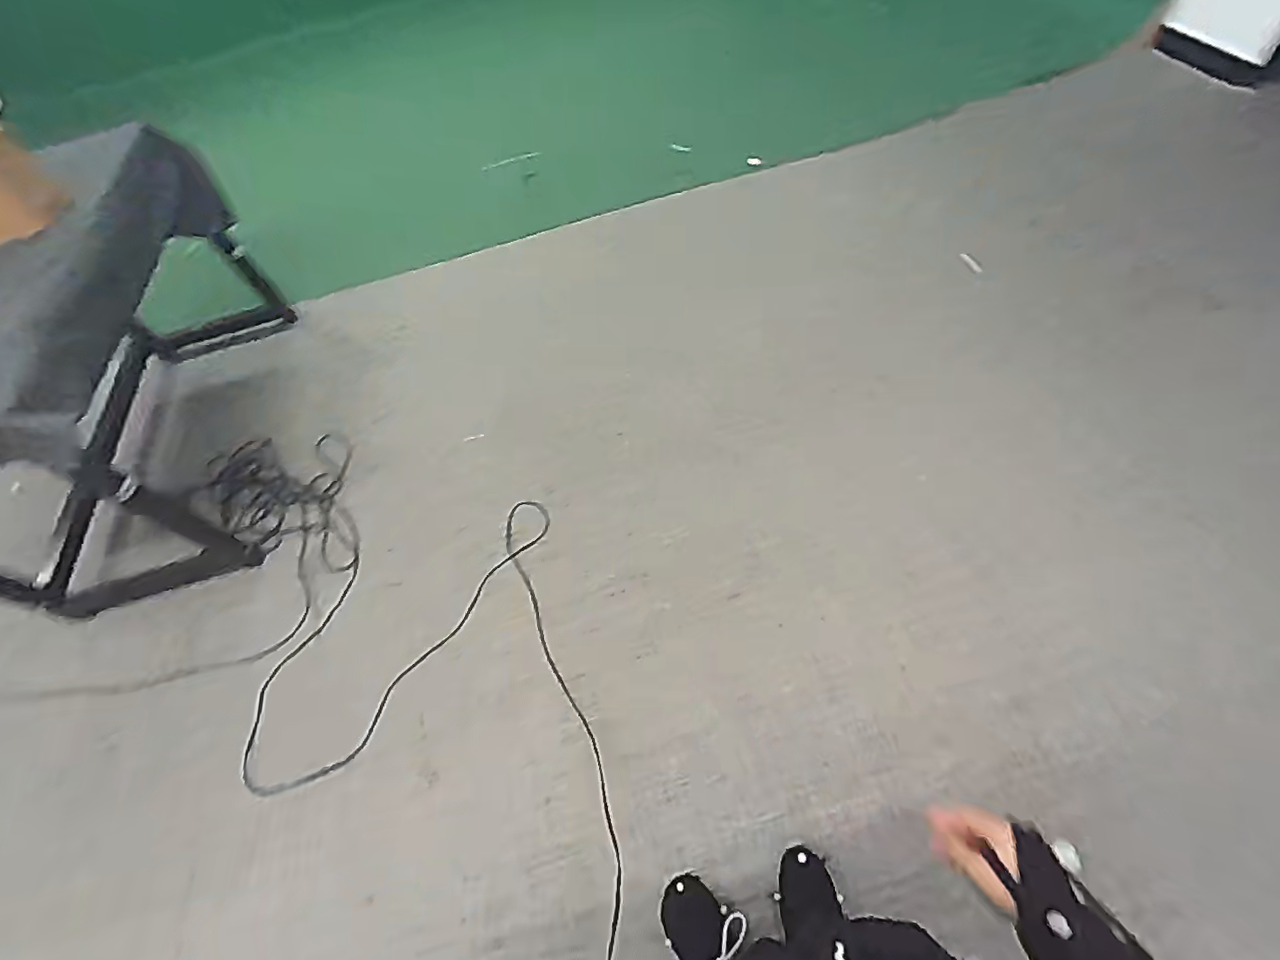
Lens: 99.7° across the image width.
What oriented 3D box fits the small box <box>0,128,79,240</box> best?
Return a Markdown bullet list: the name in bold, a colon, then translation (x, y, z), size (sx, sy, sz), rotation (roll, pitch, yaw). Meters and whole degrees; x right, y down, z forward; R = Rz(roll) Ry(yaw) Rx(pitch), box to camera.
- **small box**: translation (-1.560, -0.715, 1.321), size (0.179, 0.176, 0.168), rotation (-15, 58, -1)
